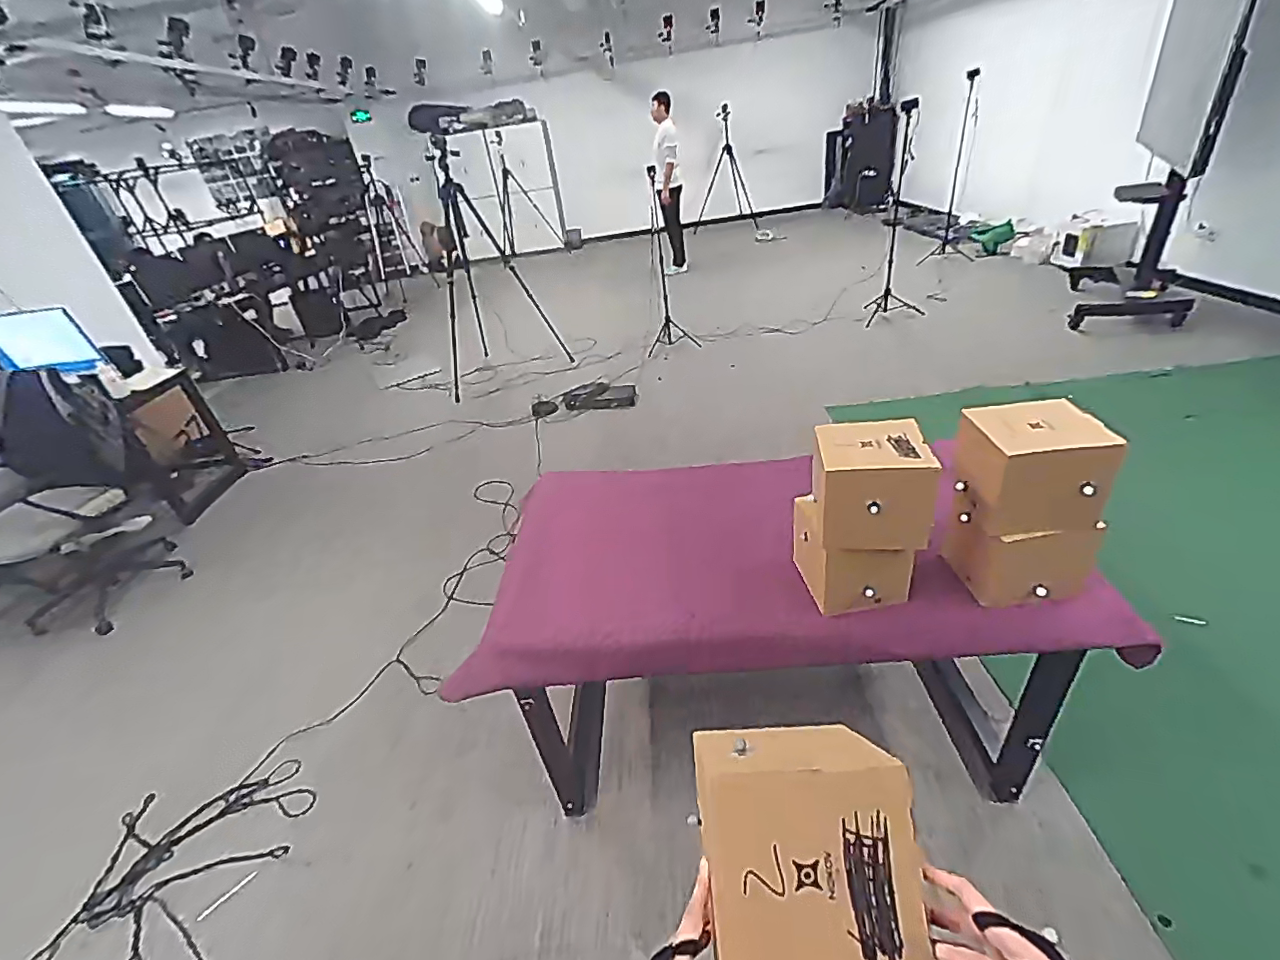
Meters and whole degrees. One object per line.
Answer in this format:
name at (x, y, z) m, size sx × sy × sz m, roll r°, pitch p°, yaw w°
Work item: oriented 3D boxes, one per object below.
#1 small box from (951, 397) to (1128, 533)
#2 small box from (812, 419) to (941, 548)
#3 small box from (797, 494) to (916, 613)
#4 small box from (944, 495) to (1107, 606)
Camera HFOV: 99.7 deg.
small box at (0.671, -0.025, 0.936) m, size 0.179 × 0.176 × 0.168 m, roll -6°, pitch 33°, yaw 8°
small box at (0.405, 0.007, 0.957) m, size 0.179 × 0.176 × 0.168 m, roll -2°, pitch 32°, yaw 13°
small box at (0.413, 0.134, 1.065) m, size 0.168 × 0.176 × 0.179 m, roll -10°, pitch 32°, yaw 0°
small box at (0.707, 0.114, 1.017) m, size 0.179 × 0.176 × 0.168 m, roll -9°, pitch 32°, yaw 3°
